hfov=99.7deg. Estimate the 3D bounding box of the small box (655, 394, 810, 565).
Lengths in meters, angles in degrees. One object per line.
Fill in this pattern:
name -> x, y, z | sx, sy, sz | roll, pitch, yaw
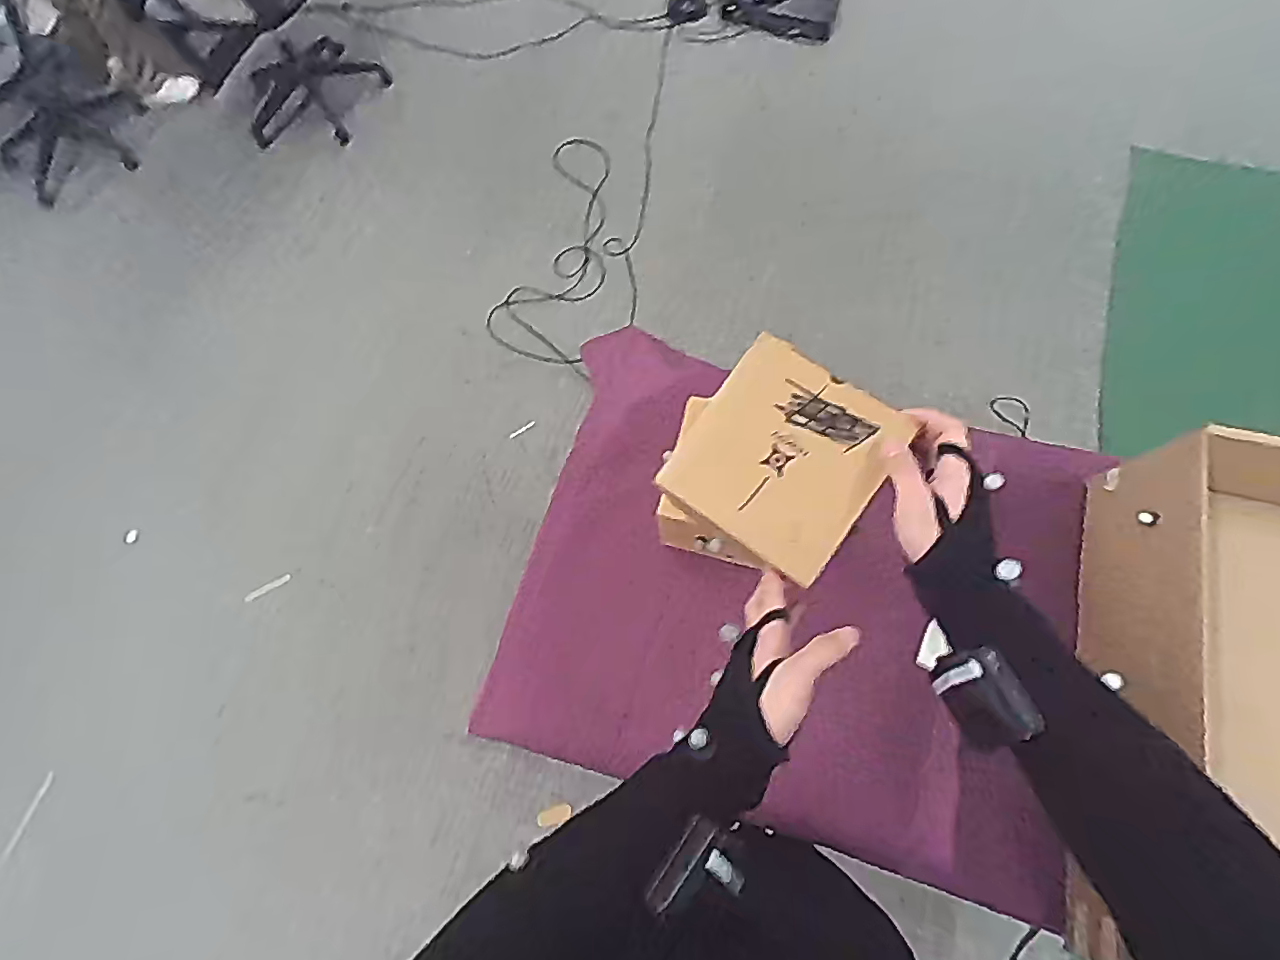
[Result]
small box -> 0.127, 0.008, 0.764 | 0.168, 0.176, 0.179 | 14, 71, 10
